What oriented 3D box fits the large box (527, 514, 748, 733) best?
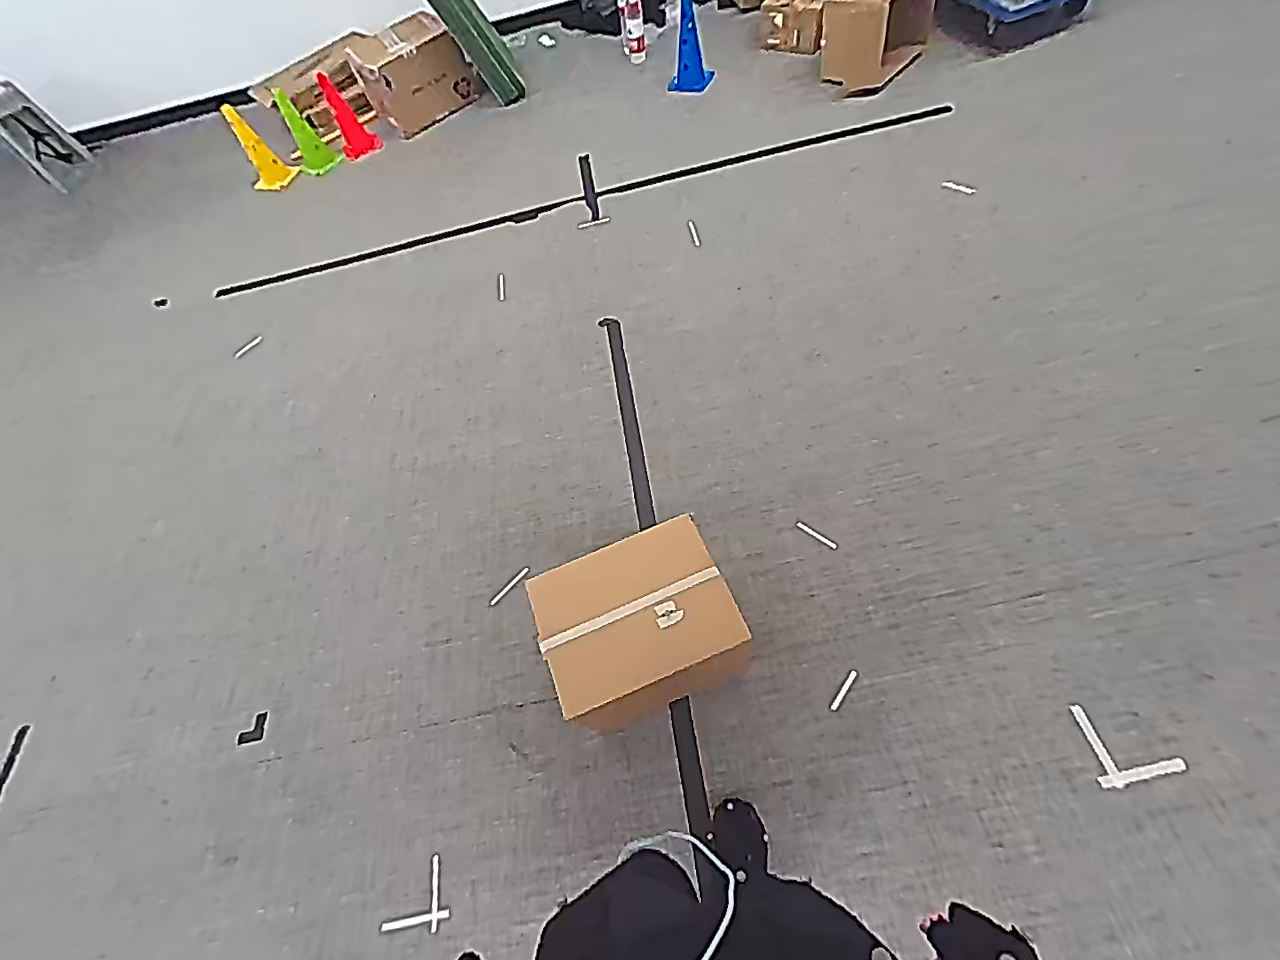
[{"bbox_3d":[0.002,0.346,1.268,0.408,0.320,0.320,-22,60,-4],"label":"large box"}]
